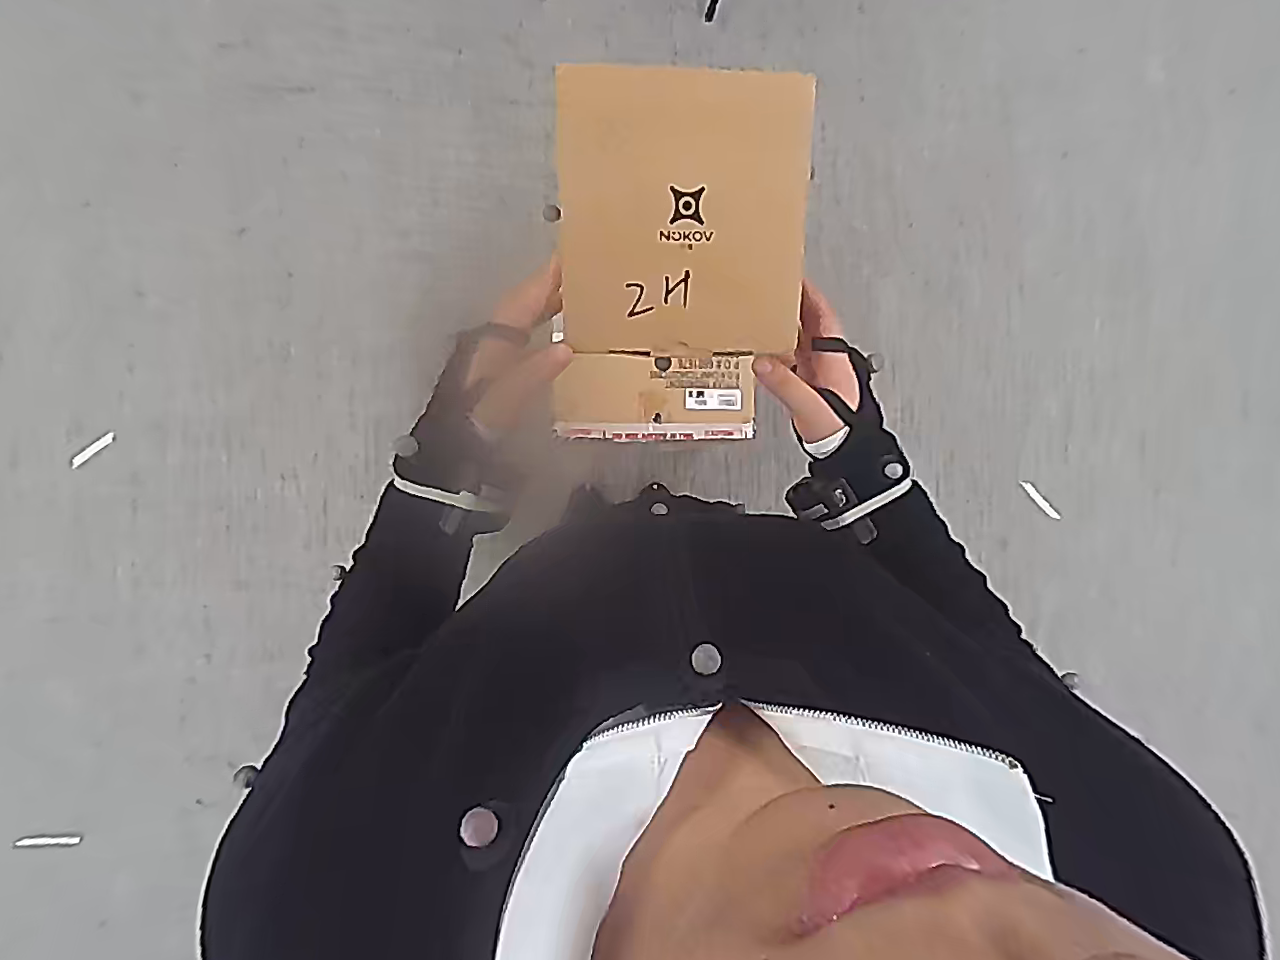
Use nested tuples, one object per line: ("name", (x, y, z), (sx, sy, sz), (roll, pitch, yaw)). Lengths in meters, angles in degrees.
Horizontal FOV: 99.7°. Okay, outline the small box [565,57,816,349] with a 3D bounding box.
("small box", (0.026, -0.197, 0.438), (0.168, 0.176, 0.179), (-1, 105, -3))
